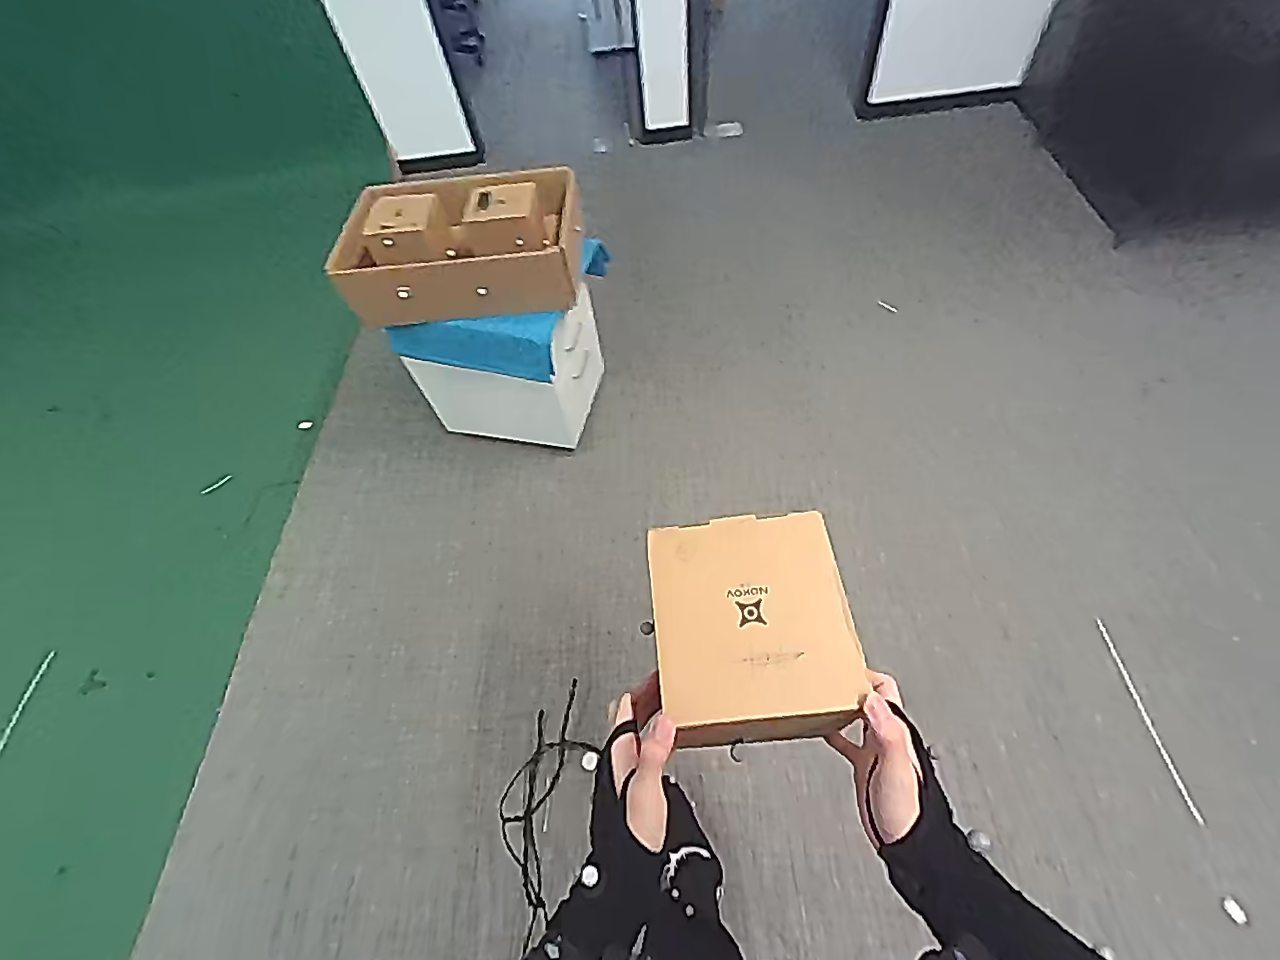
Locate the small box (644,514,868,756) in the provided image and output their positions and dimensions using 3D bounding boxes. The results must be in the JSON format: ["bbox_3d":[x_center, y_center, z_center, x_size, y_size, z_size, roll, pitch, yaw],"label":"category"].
[{"bbox_3d":[0.096,0.155,0.527,0.168,0.176,0.179,-7,56,3],"label":"small box"}]

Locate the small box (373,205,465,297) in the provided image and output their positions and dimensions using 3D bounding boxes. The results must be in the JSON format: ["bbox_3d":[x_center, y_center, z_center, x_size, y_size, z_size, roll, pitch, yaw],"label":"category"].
[{"bbox_3d":[-0.604,-0.636,1.508,0.168,0.176,0.179,-3,55,5],"label":"small box"}]
